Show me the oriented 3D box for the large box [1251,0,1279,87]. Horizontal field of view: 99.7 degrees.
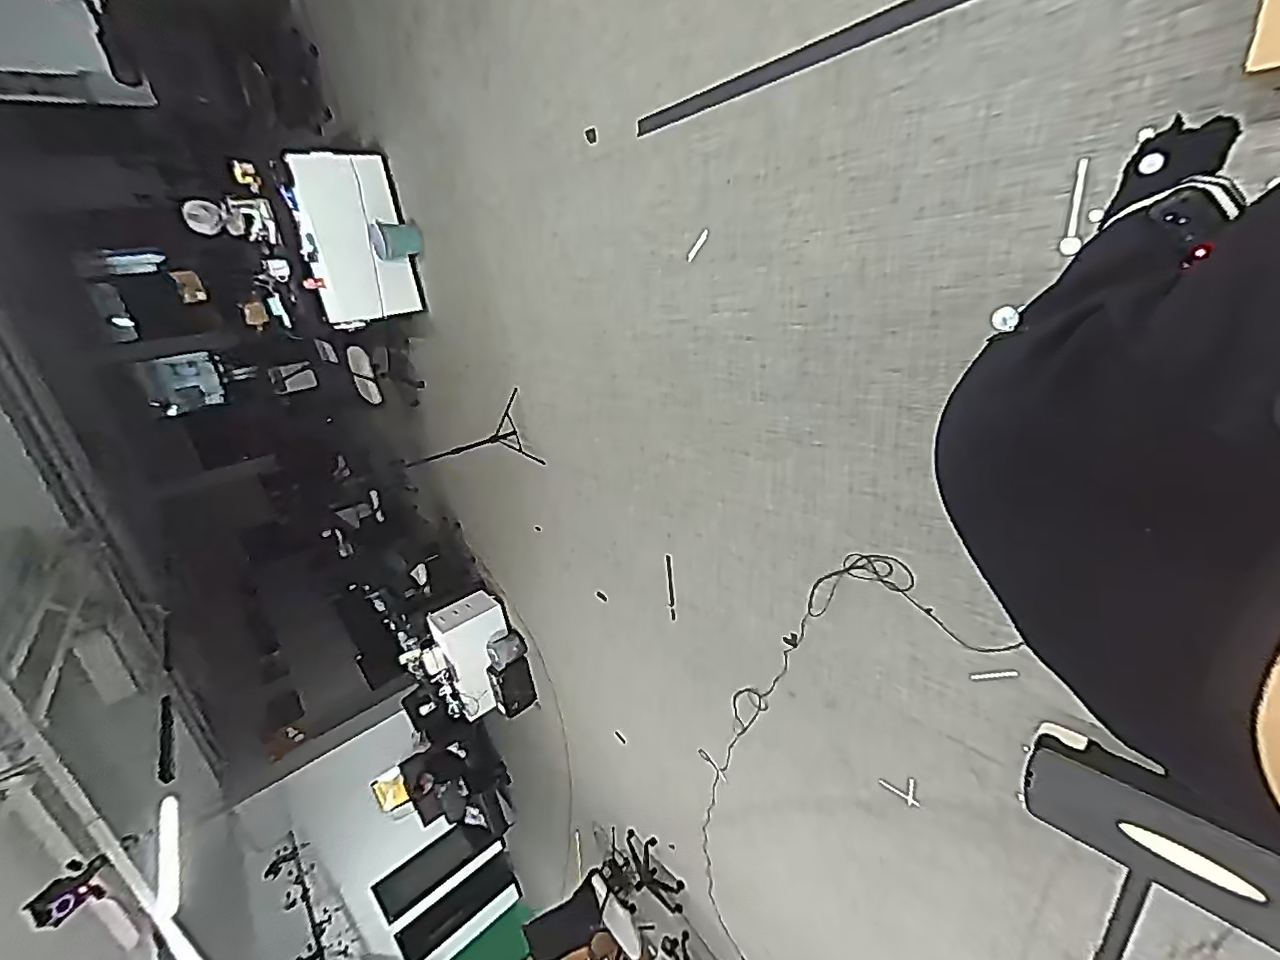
[{"bbox_3d":[1.035,-0.699,0.611,0.408,0.320,0.320,18,124,46],"label":"large box"}]
